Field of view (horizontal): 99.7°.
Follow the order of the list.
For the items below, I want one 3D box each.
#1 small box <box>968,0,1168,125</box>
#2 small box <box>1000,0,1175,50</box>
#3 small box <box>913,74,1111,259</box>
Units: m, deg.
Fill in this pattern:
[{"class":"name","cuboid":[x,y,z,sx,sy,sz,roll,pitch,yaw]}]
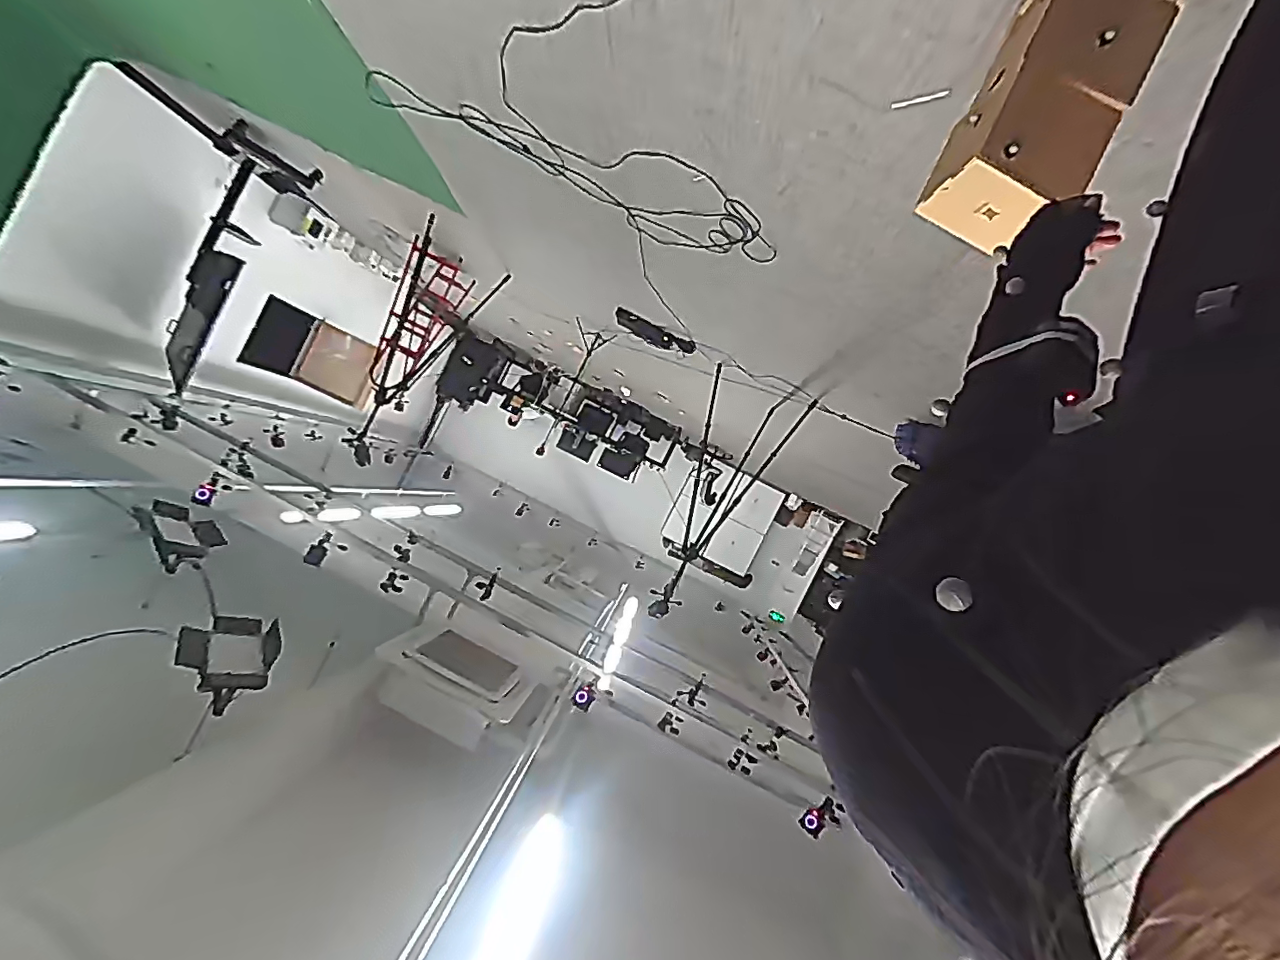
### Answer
[{"class":"small box","cuboid":[0.673,-0.647,0.873,0.179,0.176,0.168,26,180,1]},{"class":"small box","cuboid":[0.744,-0.798,0.870,0.179,0.176,0.168,28,-177,4]},{"class":"small box","cuboid":[0.599,-0.503,0.880,0.179,0.176,0.168,27,180,-4]}]
